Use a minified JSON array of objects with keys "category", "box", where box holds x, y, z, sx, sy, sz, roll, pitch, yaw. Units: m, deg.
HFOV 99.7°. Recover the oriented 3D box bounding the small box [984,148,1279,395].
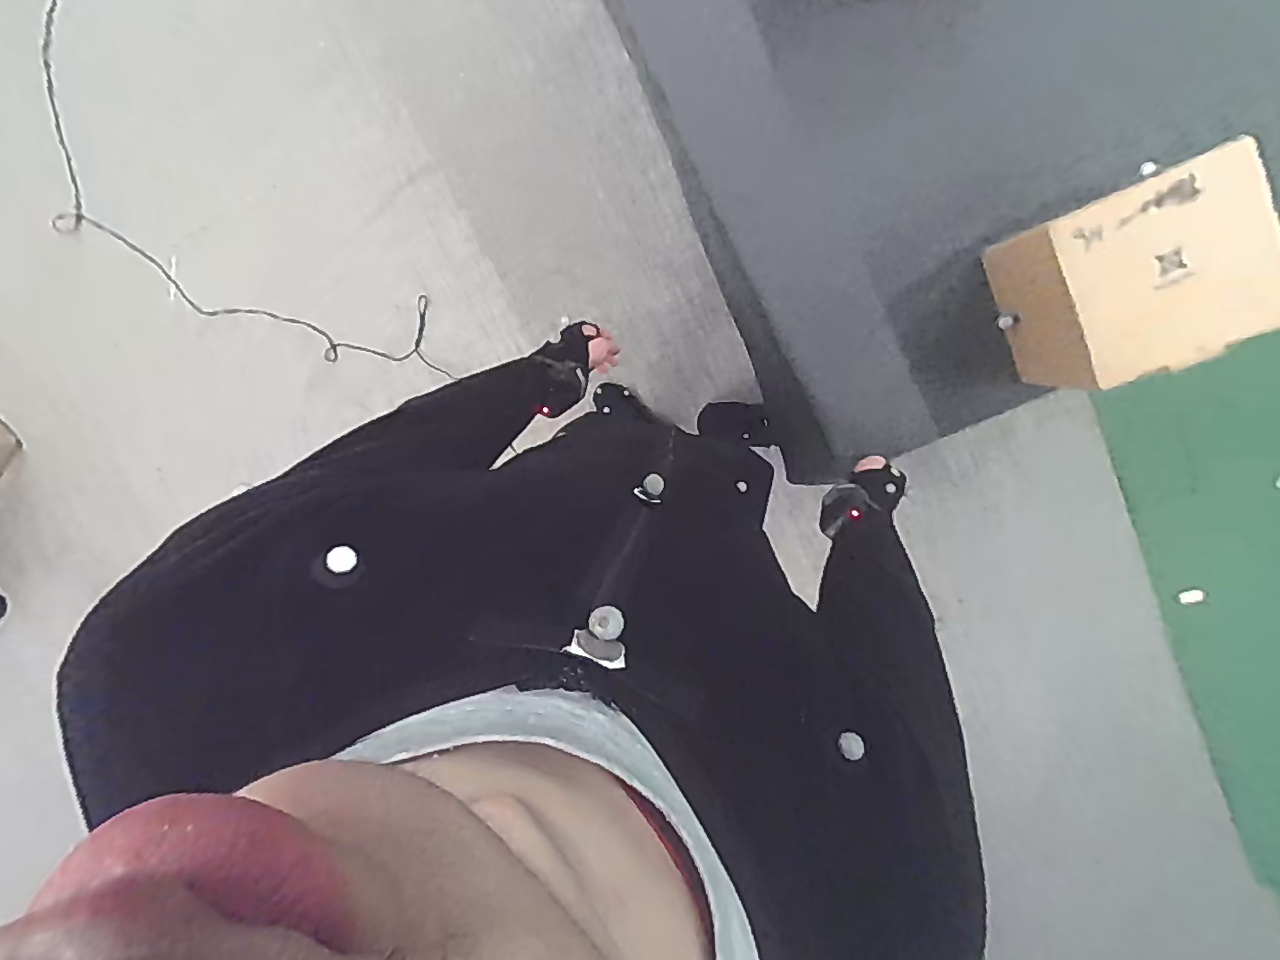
[{"category":"small box","box":[0.518,-0.210,0.589,0.168,0.176,0.179,-23,98,13]}]
